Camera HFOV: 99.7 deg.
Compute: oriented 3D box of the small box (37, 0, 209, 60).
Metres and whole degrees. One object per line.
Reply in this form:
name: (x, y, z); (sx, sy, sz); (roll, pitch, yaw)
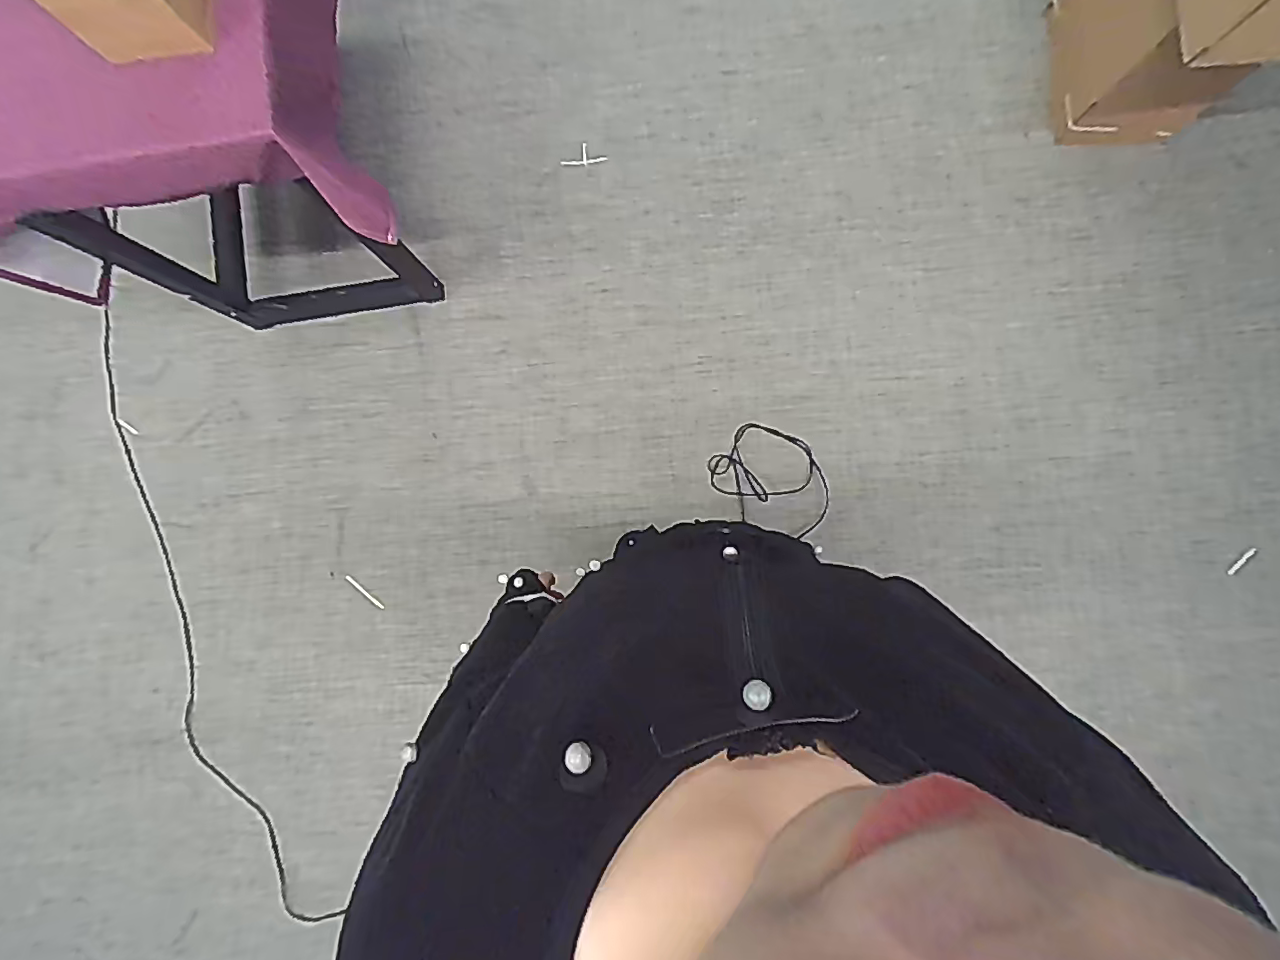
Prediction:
small box: (-0.773, -0.763, 0.791); (0.179, 0.176, 0.168); (-5, 86, 3)
